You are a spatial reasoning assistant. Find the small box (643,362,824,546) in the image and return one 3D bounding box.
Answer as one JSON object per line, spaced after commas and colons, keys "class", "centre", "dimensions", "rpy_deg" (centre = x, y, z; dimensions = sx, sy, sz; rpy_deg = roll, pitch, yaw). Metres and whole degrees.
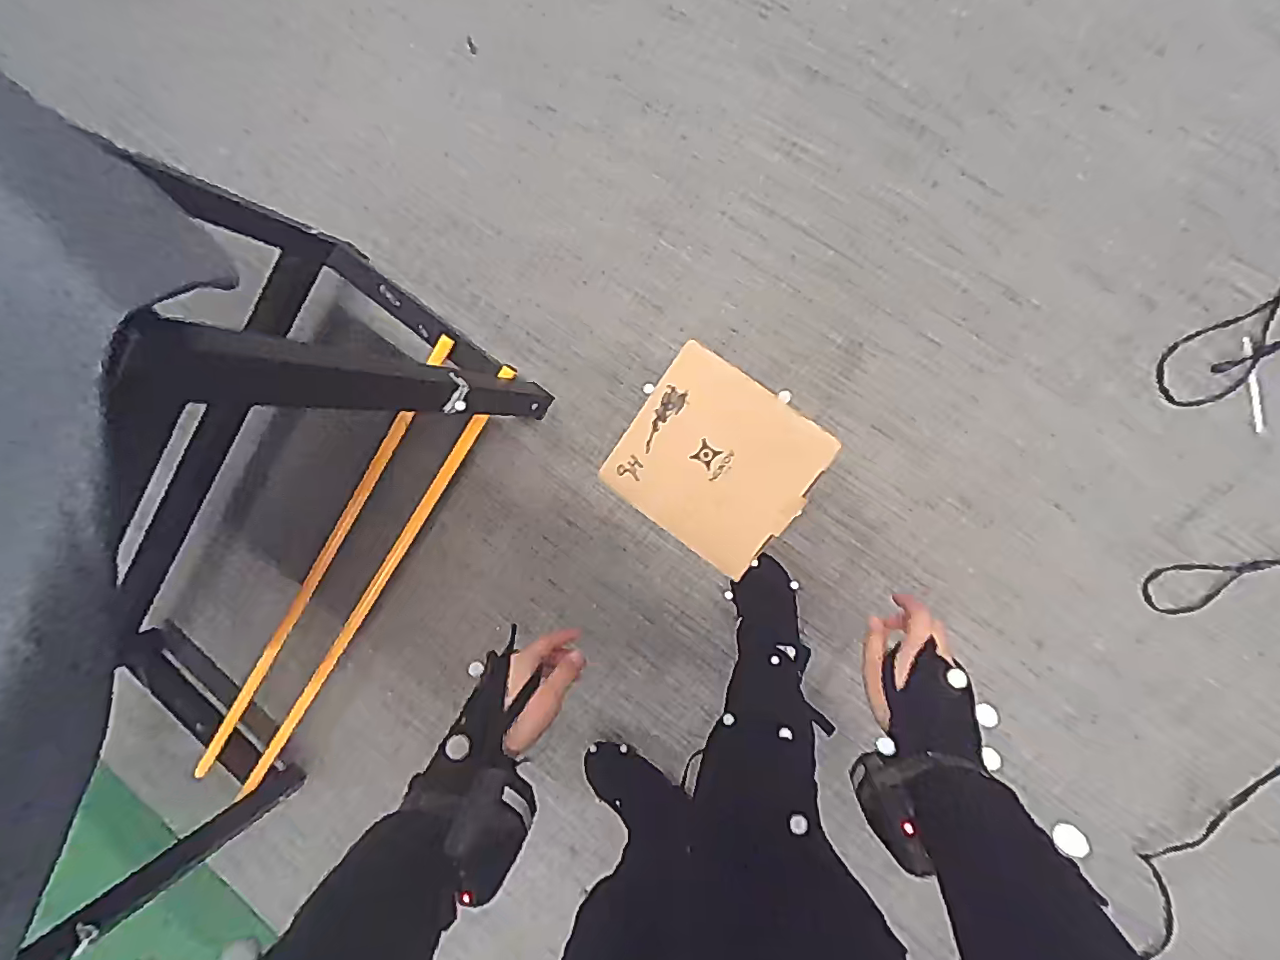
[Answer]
{"class": "small box", "centre": [0.133, -0.037, 0.753], "dimensions": [0.168, 0.176, 0.179], "rpy_deg": [36, 102, 8]}
